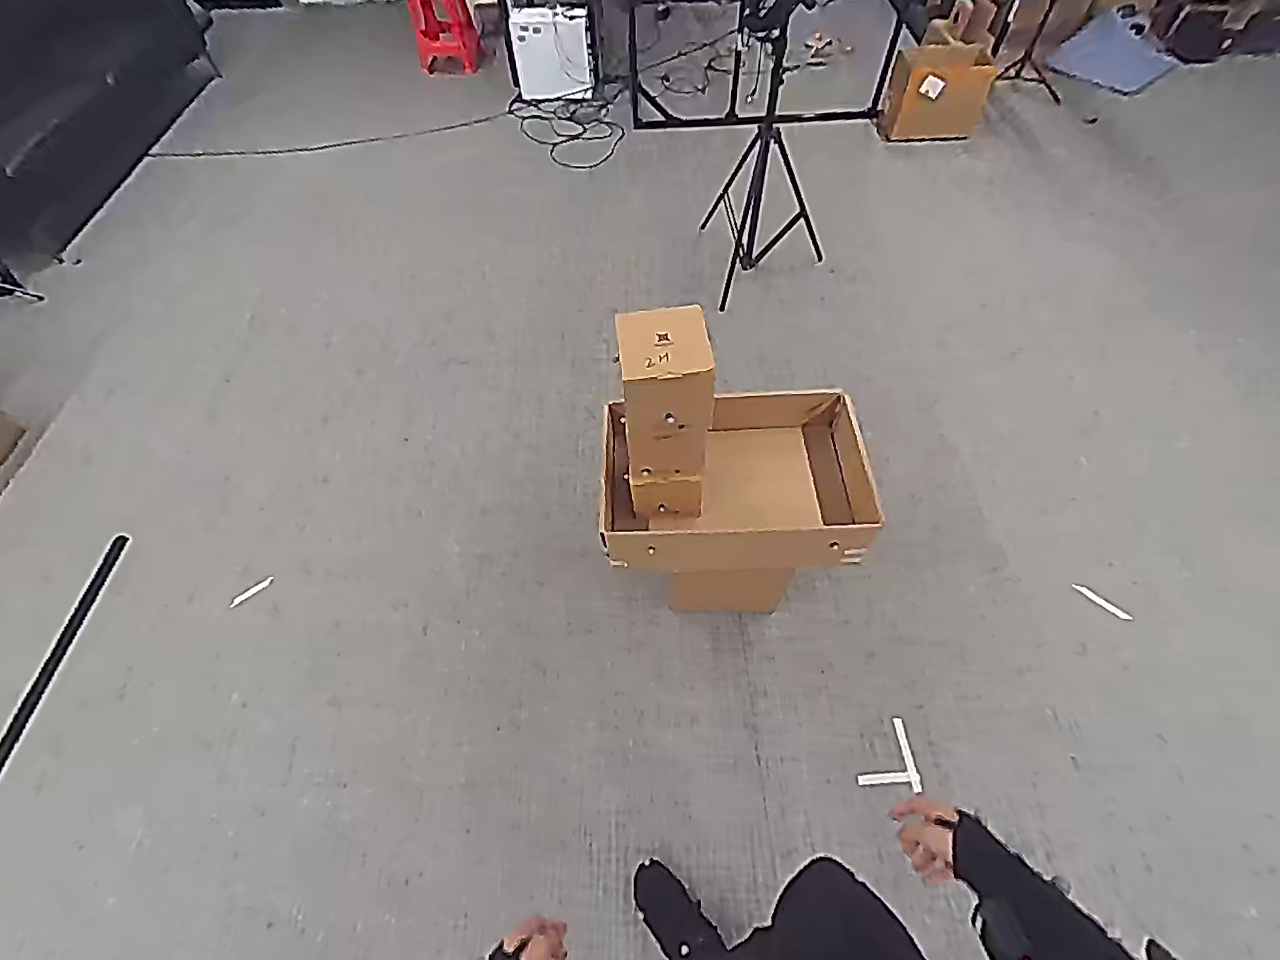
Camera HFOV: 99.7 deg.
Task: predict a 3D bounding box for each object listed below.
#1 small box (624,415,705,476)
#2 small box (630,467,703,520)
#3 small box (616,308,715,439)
[{"bbox_3d":[0.054,-0.120,1.187,0.168,0.176,0.179,-3,57,2],"label":"small box"},{"bbox_3d":[0.062,-0.020,1.317,0.168,0.176,0.179,-4,57,2],"label":"small box"},{"bbox_3d":[0.045,-0.203,1.045,0.168,0.176,0.179,-7,58,0],"label":"small box"}]
